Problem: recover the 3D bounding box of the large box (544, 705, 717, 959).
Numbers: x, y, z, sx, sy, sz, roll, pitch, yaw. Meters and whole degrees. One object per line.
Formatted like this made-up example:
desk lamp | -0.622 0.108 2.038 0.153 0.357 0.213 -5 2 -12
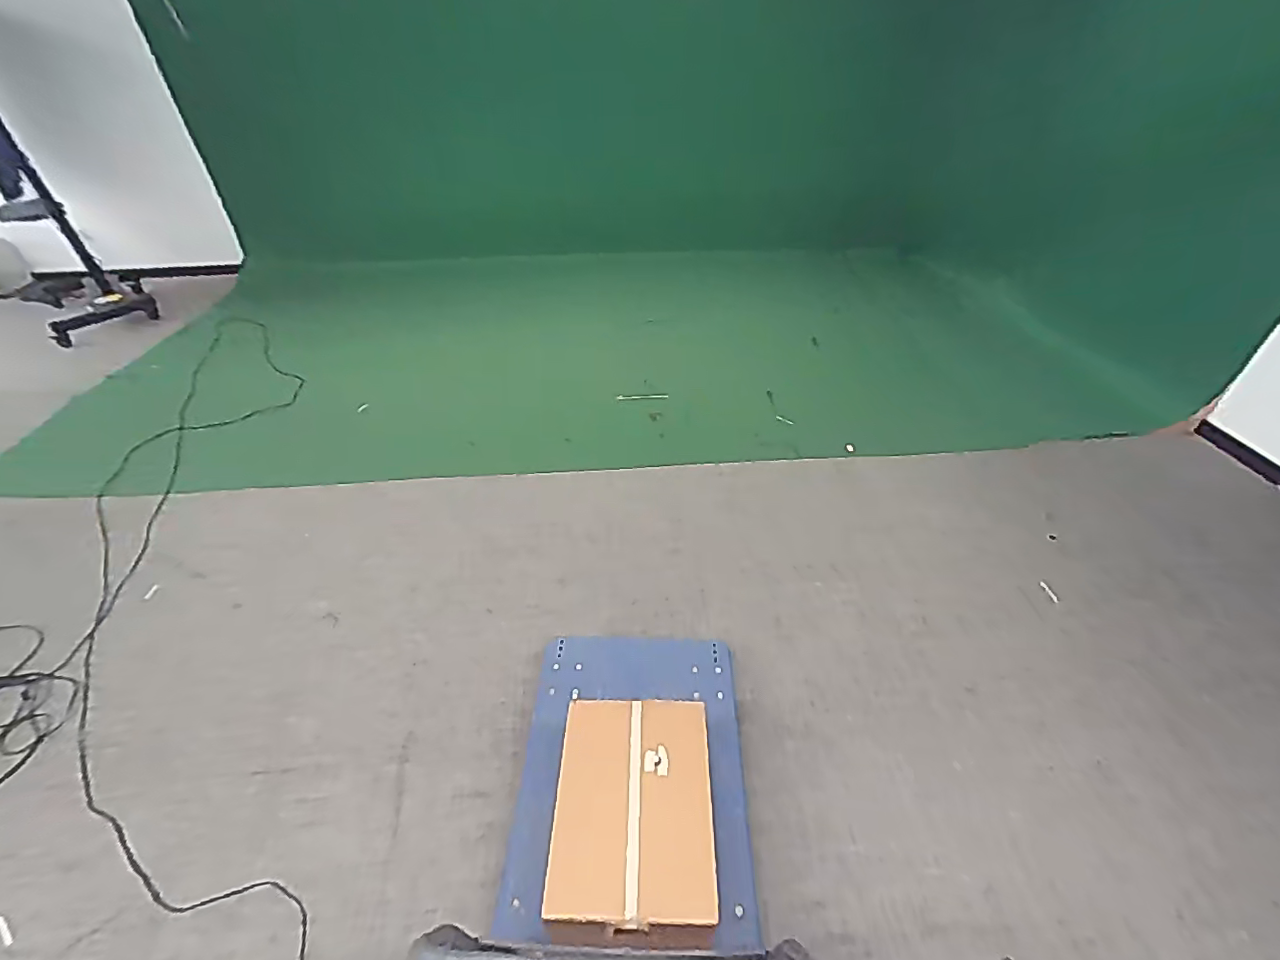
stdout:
large box | -0.012 0.766 1.191 0.320 0.320 0.408 1 39 1
